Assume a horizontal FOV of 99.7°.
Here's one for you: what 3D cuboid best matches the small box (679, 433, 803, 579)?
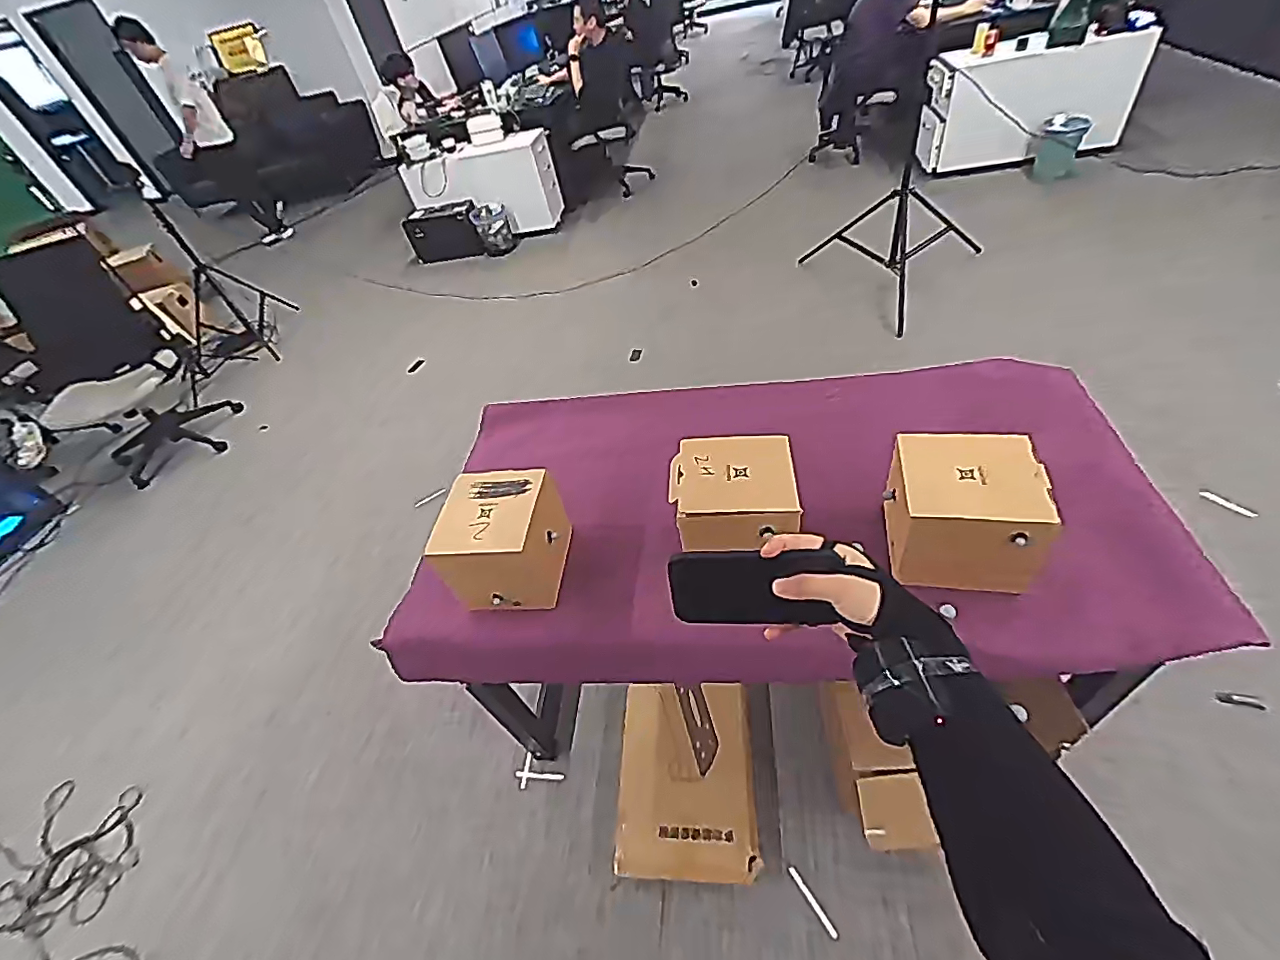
[{"bbox_3d":[0.161,0.046,0.873,0.179,0.176,0.168,-4,43,10],"label":"small box"}]

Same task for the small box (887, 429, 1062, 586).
[{"bbox_3d":[0.471,0.042,0.799,0.179,0.176,0.168,1,47,15],"label":"small box"}]
